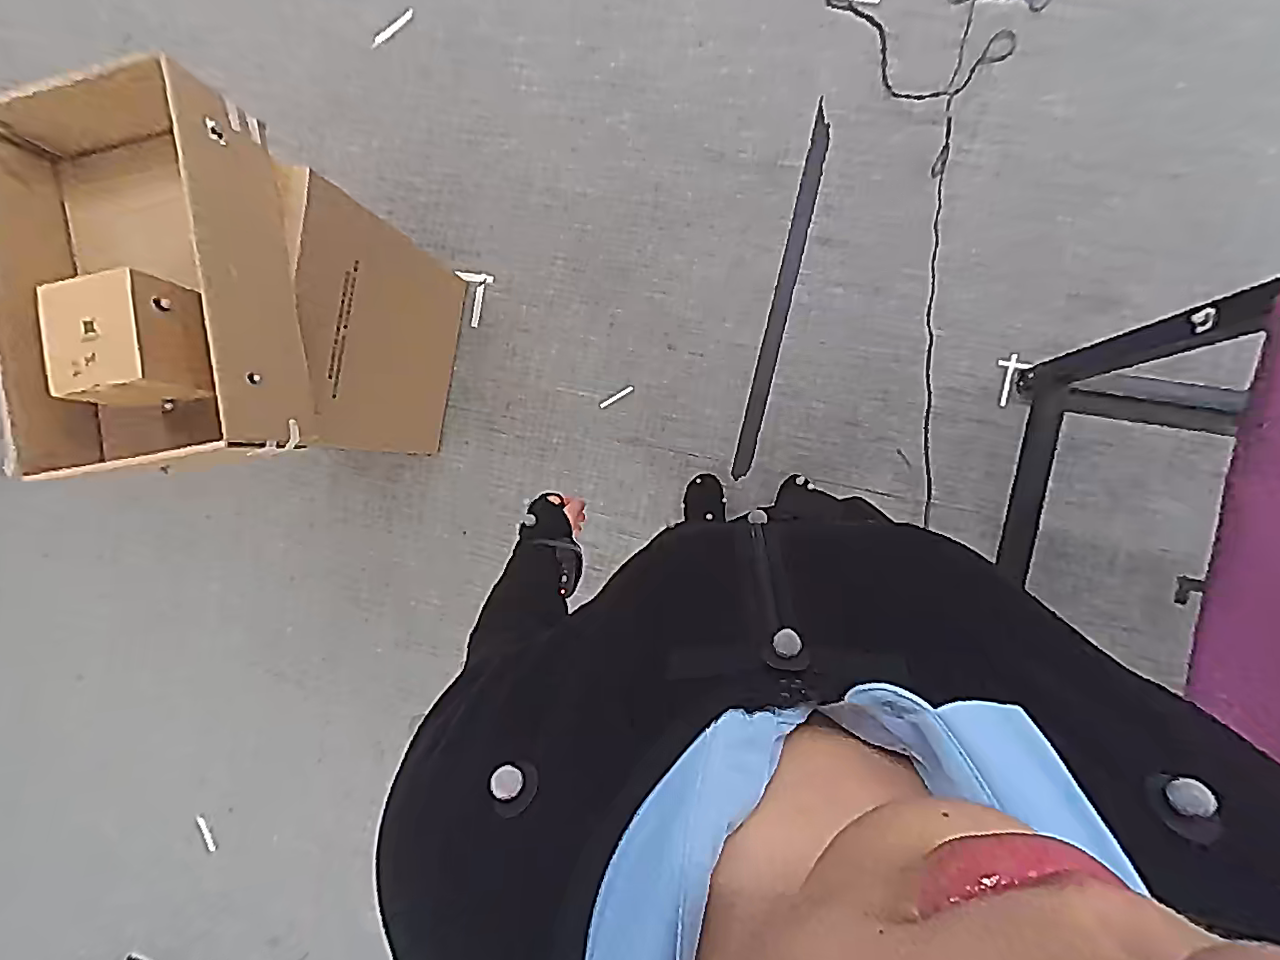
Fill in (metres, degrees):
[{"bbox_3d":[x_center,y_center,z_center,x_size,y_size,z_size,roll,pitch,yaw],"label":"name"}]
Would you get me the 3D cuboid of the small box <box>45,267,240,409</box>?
[{"bbox_3d":[-0.813,-0.225,0.899,0.168,0.176,0.179,-8,90,8],"label":"small box"}]
